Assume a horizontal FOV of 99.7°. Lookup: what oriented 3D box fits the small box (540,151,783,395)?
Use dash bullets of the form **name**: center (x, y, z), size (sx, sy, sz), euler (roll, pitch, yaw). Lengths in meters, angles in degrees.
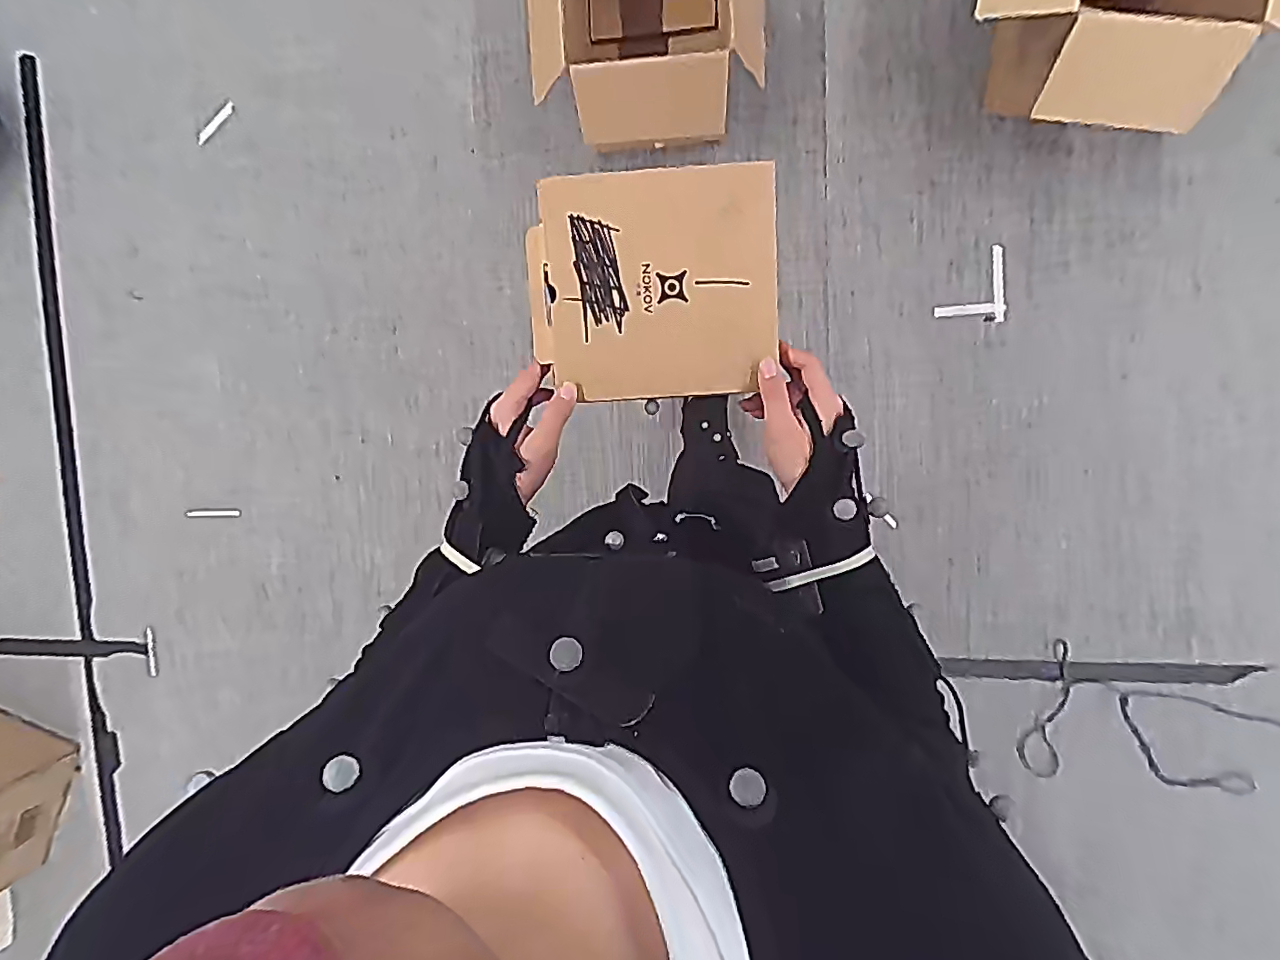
- **small box**: center (0.021, -0.162, 0.479), size (0.179, 0.176, 0.168), euler (-3, 99, 2)
